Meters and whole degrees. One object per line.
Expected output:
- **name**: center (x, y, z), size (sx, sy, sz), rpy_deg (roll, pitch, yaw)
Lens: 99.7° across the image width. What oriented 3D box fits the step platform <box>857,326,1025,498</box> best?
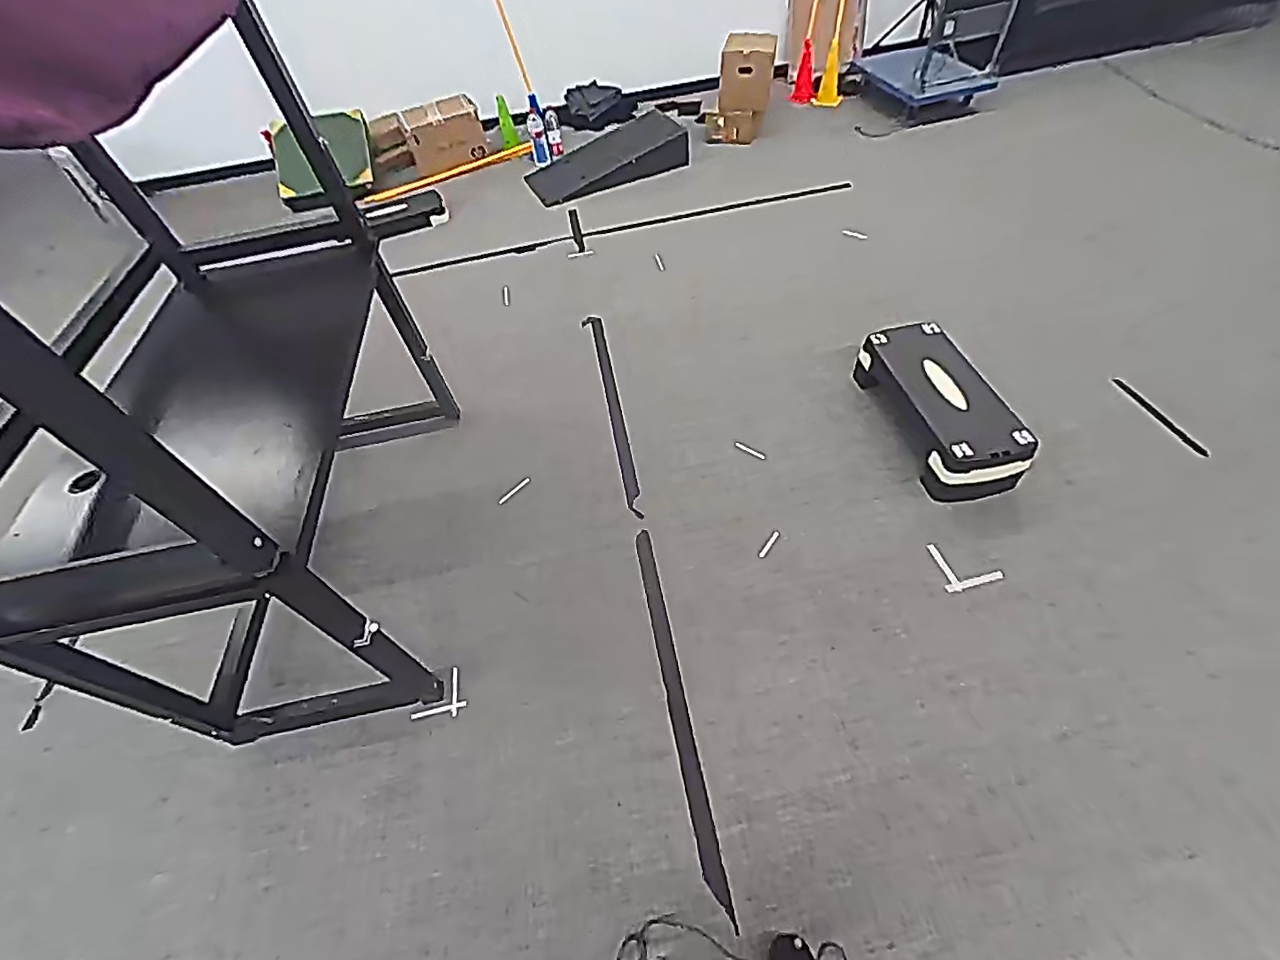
- **step platform**: center (1.014, -0.266, 1.885), size (0.286, 0.204, 0.684), rpy_deg (-8, 50, 2)
